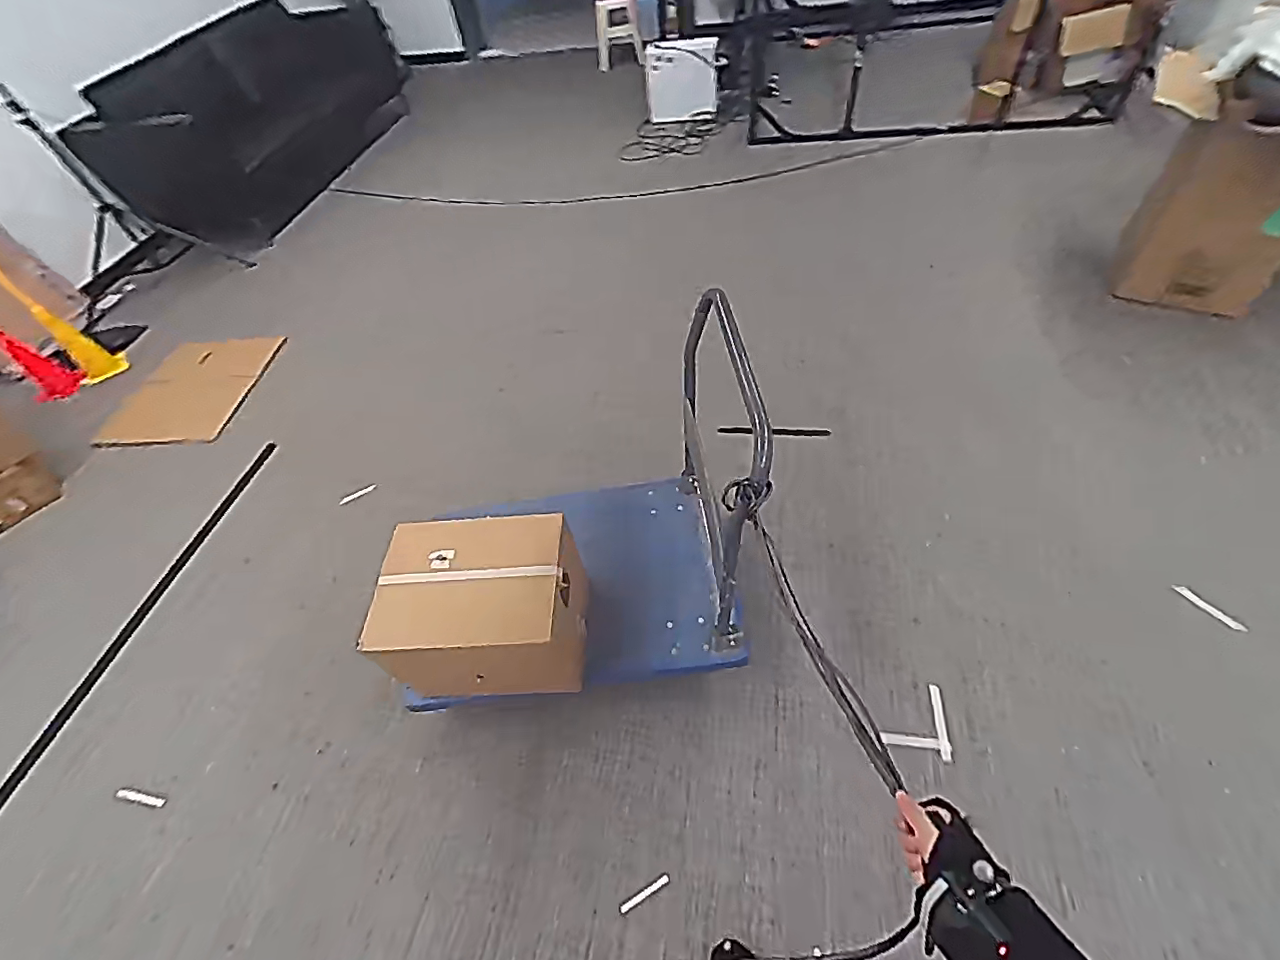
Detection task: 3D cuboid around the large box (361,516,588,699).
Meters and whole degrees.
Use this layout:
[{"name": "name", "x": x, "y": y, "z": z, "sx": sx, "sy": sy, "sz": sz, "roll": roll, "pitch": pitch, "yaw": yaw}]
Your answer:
[{"name": "large box", "x": -0.349, "y": 0.310, "z": 1.275, "sx": 0.408, "sy": 0.320, "sz": 0.320, "roll": -5, "pitch": 51, "yaw": 5}]
